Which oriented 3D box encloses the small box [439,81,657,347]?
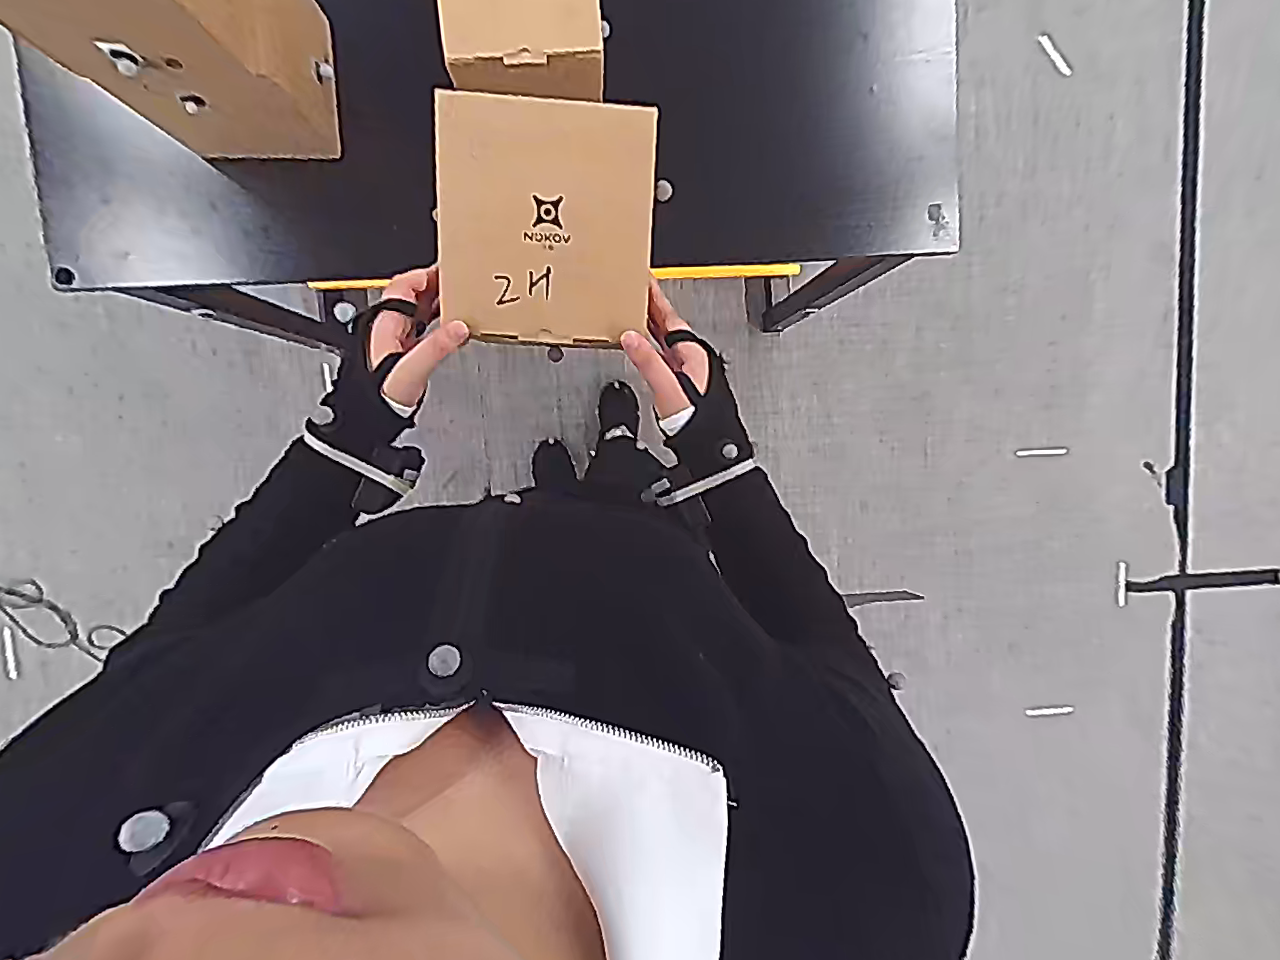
[{"bbox_3d":[-0.078,-0.222,0.499,0.168,0.176,0.179,2,100,-4],"label":"small box"}]

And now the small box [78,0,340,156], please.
[{"bbox_3d":[-0.468,-0.489,0.606,0.179,0.176,0.168,-2,95,-5],"label":"small box"}]

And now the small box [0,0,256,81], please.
[{"bbox_3d":[-0.457,-0.473,0.444,0.168,0.176,0.179,-3,96,-3],"label":"small box"}]

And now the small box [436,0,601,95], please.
[{"bbox_3d":[-0.133,-0.528,0.631,0.168,0.176,0.179,-5,96,-4],"label":"small box"}]
